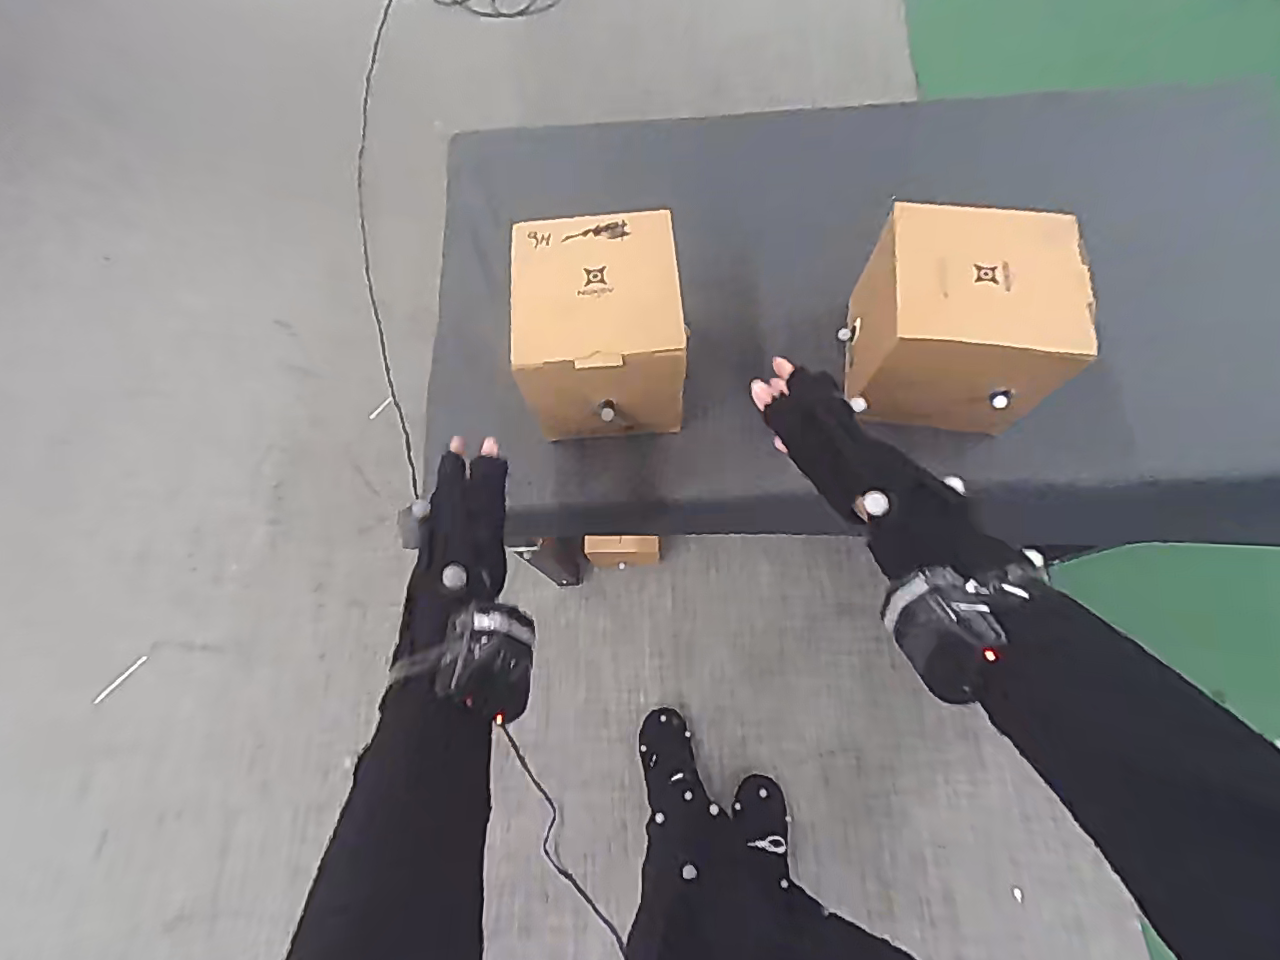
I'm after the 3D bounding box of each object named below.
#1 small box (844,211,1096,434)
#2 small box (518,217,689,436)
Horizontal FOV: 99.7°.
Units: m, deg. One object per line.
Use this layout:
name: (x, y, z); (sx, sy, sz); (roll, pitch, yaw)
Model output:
small box: (0.340, -0.162, 0.594); (0.179, 0.176, 0.168); (6, 69, 6)
small box: (-0.035, -0.158, 0.606); (0.168, 0.176, 0.179); (-5, 70, 0)
